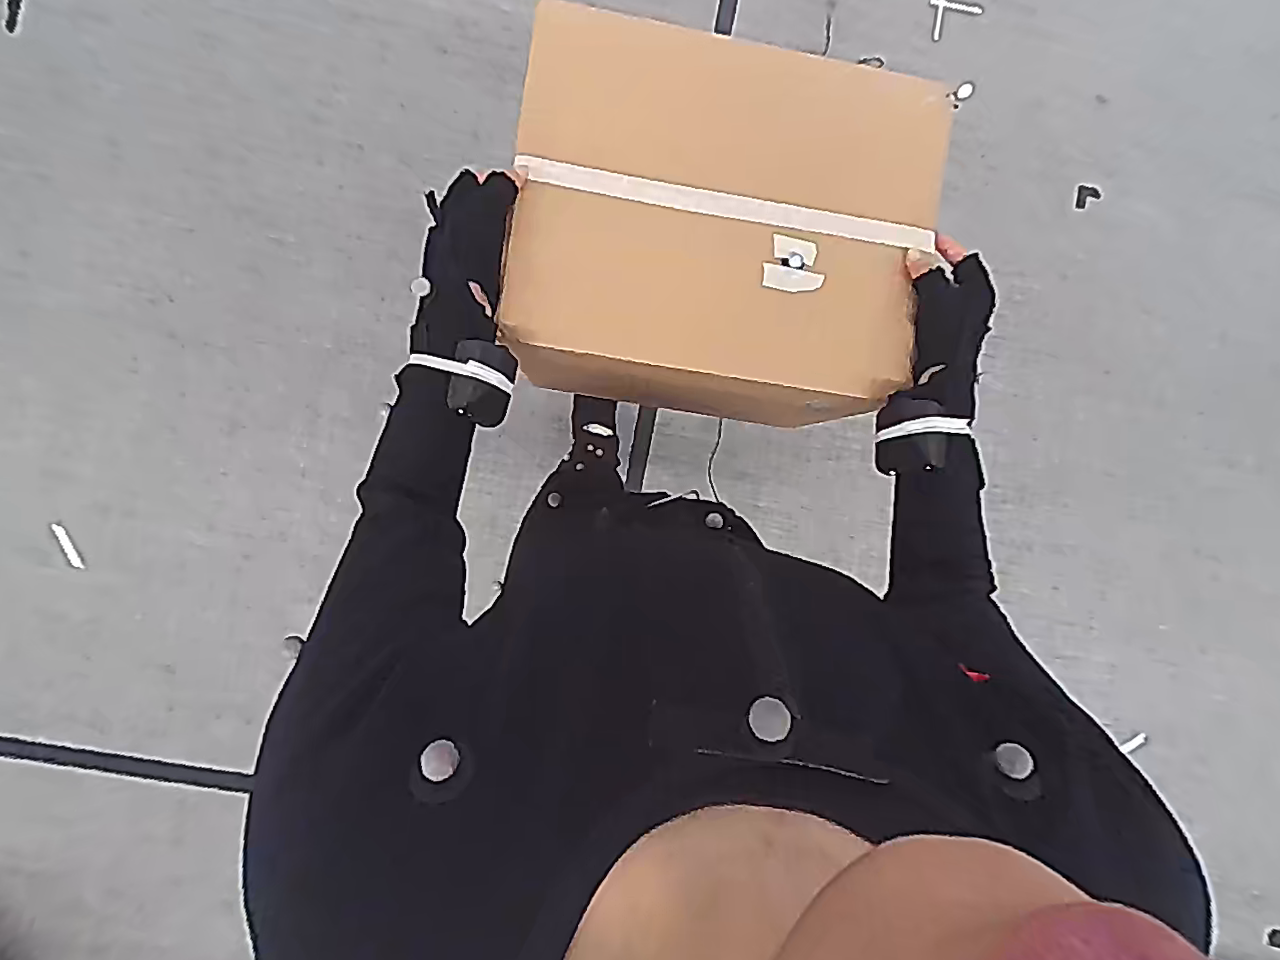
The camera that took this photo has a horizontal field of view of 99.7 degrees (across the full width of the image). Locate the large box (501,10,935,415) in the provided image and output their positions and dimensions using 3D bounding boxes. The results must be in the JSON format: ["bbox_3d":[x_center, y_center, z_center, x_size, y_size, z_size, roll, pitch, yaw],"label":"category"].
[{"bbox_3d":[0.068,-0.271,0.674,0.408,0.320,0.320,8,92,-5],"label":"large box"}]
